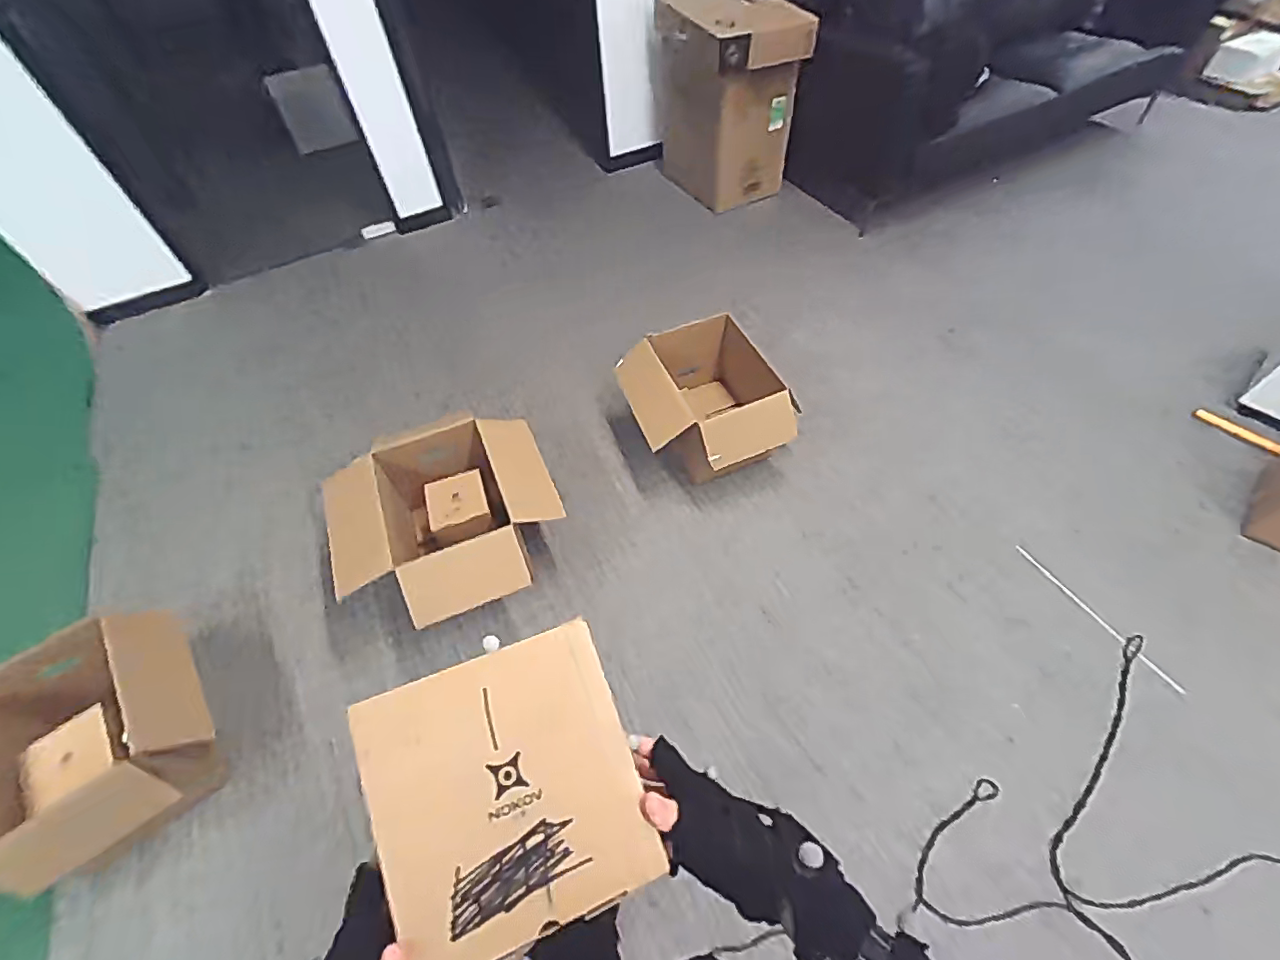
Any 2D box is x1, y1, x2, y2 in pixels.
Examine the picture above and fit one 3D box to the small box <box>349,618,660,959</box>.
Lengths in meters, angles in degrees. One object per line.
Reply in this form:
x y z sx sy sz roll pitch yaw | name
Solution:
-0.101 0.223 0.429 0.168 0.176 0.179 -17 76 -15 | small box
